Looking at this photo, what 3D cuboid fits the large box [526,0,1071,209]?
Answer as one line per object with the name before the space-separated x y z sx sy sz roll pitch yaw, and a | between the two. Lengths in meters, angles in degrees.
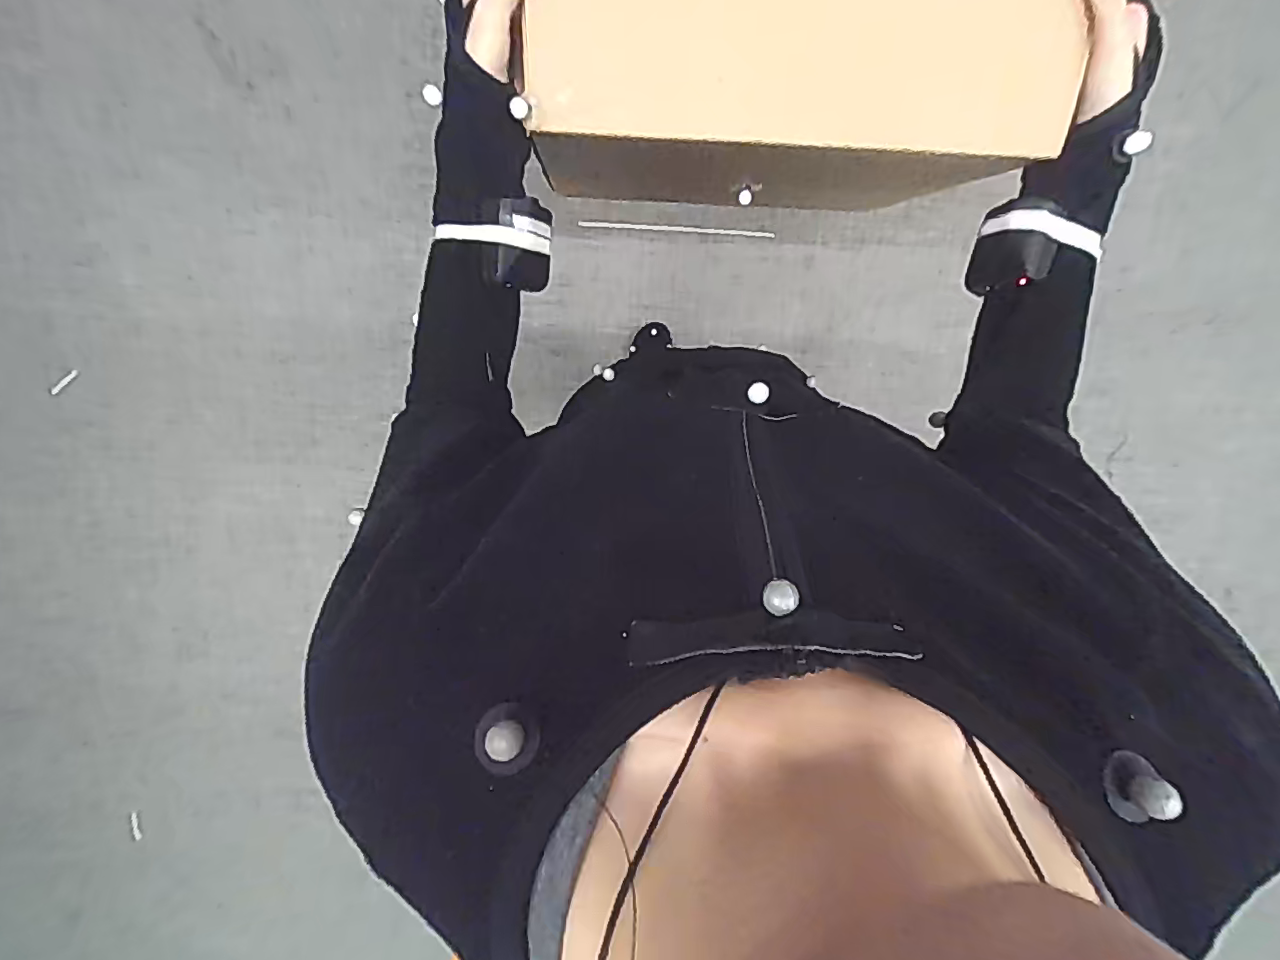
large box | 0.112 -0.443 0.507 0.408 0.320 0.320 0 109 -4
